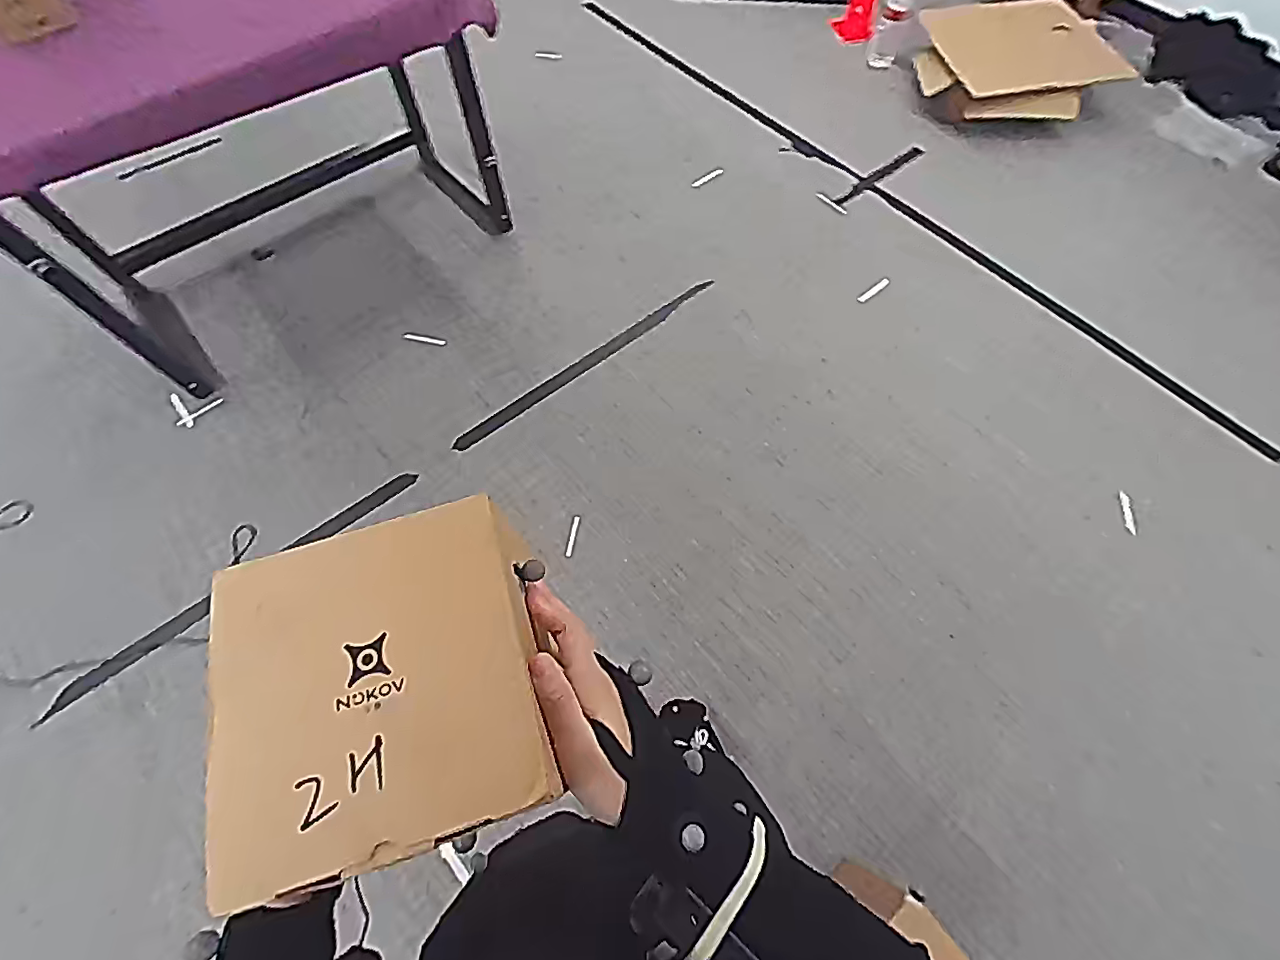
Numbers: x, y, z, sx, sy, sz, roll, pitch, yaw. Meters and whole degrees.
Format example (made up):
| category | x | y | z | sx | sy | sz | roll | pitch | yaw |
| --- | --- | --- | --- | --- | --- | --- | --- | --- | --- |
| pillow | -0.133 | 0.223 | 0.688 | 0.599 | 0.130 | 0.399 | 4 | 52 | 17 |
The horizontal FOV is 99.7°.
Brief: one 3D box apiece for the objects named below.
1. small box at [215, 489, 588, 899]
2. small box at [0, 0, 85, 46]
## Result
| category | x | y | z | sx | sy | sz | roll | pitch | yaw |
| --- | --- | --- | --- | --- | --- | --- | --- | --- | --- |
| small box | -0.141 | 0.135 | 0.367 | 0.168 | 0.176 | 0.179 | -17 | 66 | -6 |
| small box | -1.404 | -1.105 | 1.195 | 0.168 | 0.176 | 0.179 | -38 | 73 | -17 |
